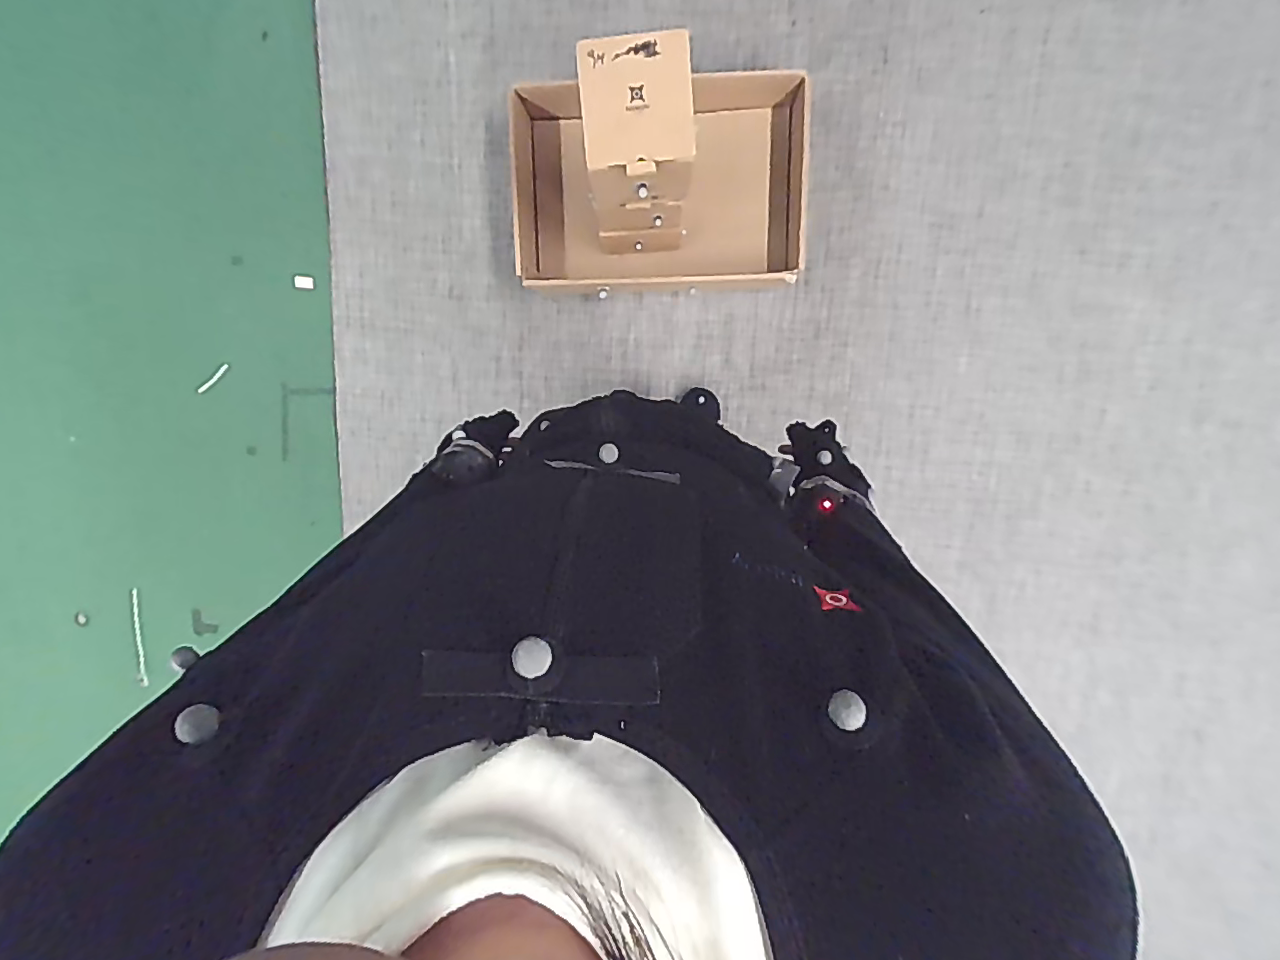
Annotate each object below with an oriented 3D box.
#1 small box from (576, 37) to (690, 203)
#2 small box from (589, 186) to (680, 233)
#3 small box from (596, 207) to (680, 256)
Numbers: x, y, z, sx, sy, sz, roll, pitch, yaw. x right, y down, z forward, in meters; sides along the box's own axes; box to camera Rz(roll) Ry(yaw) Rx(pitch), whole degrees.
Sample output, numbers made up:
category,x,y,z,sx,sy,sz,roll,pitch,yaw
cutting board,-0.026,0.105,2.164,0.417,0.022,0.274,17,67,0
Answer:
category,x,y,z,sx,sy,sz,roll,pitch,yaw
small box,-0.005,-0.562,0.873,0.168,0.176,0.179,-3,100,2
small box,-0.006,-0.584,1.035,0.168,0.176,0.179,0,98,1
small box,-0.002,-0.602,1.195,0.179,0.176,0.168,-1,99,5
